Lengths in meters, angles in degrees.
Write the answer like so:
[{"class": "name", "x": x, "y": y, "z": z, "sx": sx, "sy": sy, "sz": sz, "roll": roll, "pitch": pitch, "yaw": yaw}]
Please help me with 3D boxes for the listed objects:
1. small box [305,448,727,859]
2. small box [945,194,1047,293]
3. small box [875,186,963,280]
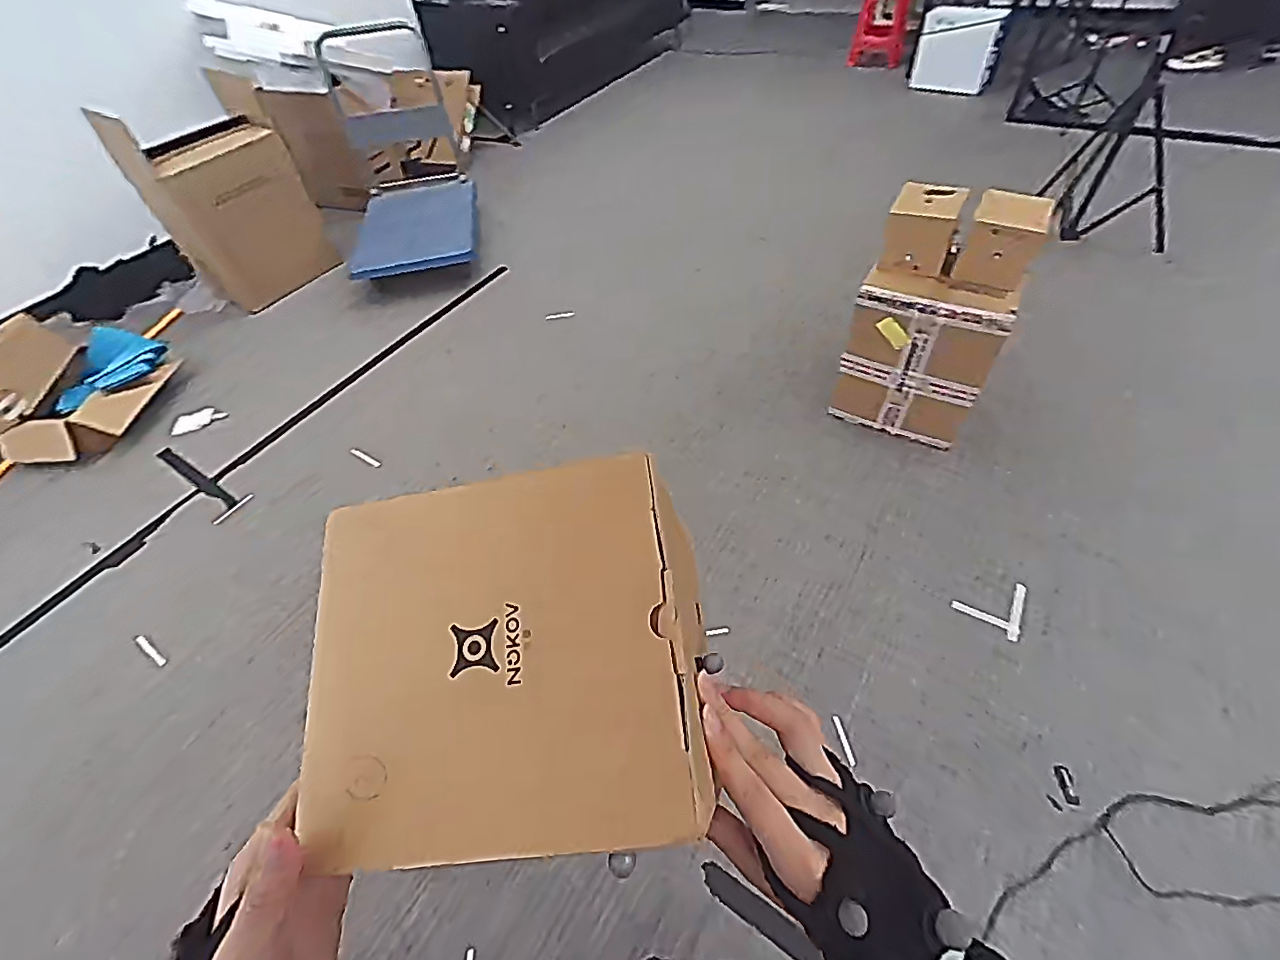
[{"class": "small box", "x": -0.050, "y": 0.102, "z": 0.320, "sx": 0.179, "sy": 0.176, "sz": 0.168, "roll": -10, "pitch": 67, "yaw": 7}, {"class": "small box", "x": 0.949, "y": -0.636, "z": 1.446, "sx": 0.168, "sy": 0.176, "sz": 0.179, "roll": 23, "pitch": 59, "yaw": 20}, {"class": "small box", "x": 0.775, "y": -0.693, "z": 1.516, "sx": 0.168, "sy": 0.176, "sz": 0.179, "roll": 20, "pitch": 58, "yaw": 24}]
